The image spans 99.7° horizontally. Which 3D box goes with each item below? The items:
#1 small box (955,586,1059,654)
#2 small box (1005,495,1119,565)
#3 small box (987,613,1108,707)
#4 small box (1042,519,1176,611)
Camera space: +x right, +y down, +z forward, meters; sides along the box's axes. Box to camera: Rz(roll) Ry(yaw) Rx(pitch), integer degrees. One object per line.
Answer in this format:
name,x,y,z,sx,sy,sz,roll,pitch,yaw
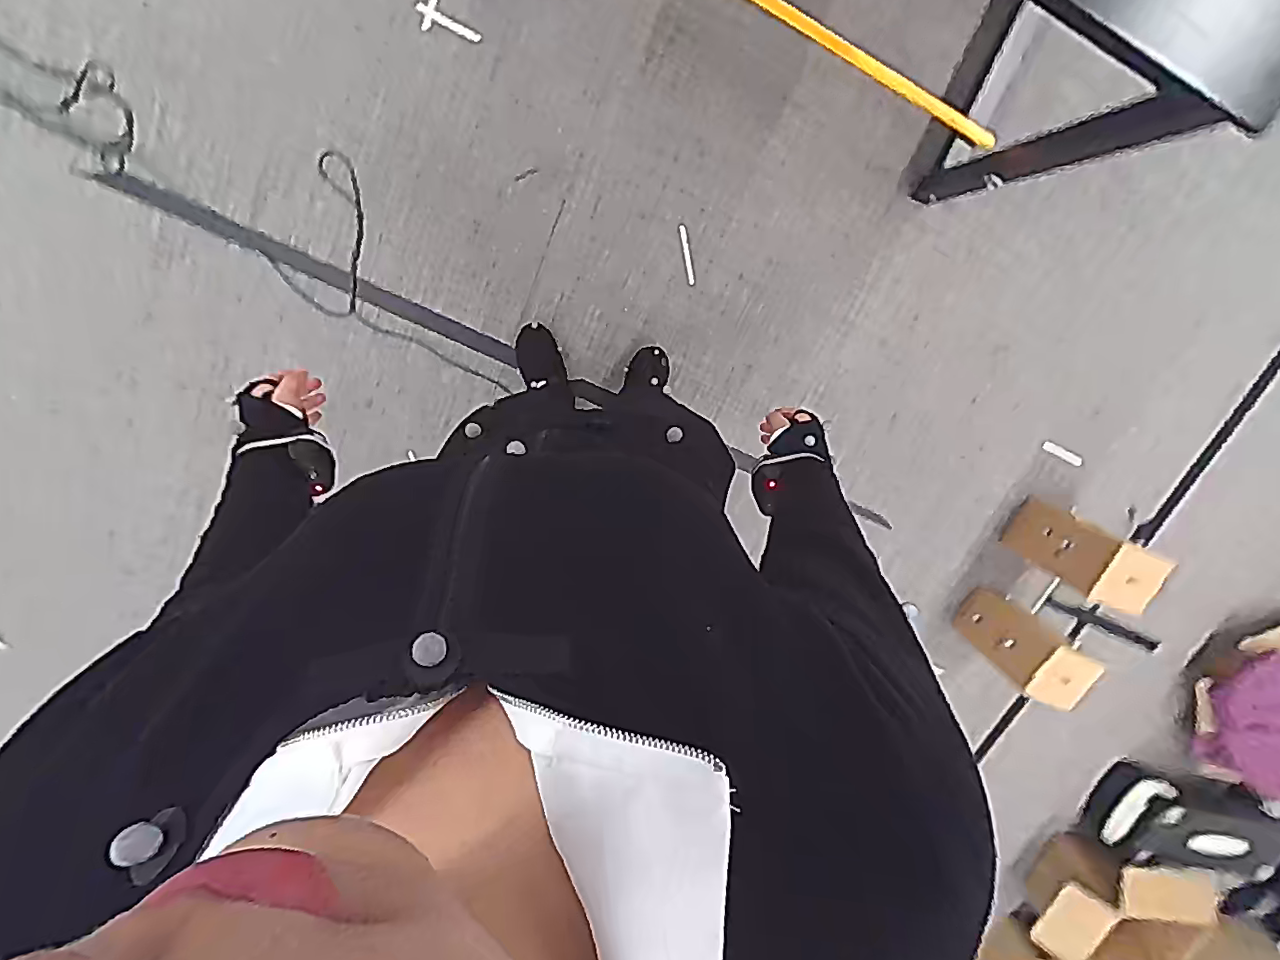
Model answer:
small box,1.144,0.458,1.700,0.179,0.176,0.168,22,106,-11
small box,1.240,0.167,1.605,0.168,0.176,0.179,20,107,-11
small box,1.151,0.506,1.541,0.179,0.176,0.168,23,105,-11
small box,1.248,0.222,1.452,0.179,0.176,0.168,18,105,-9
